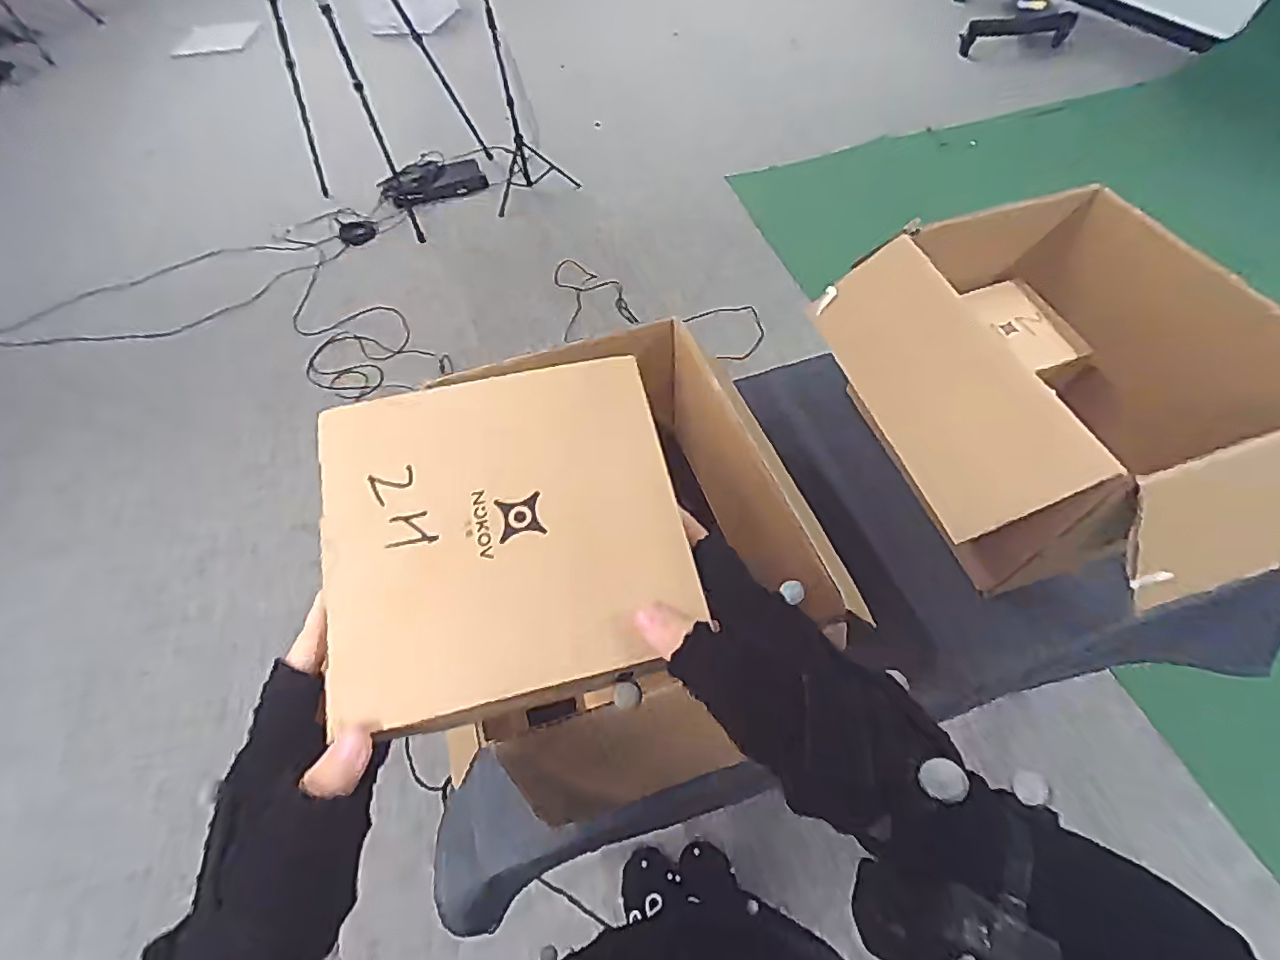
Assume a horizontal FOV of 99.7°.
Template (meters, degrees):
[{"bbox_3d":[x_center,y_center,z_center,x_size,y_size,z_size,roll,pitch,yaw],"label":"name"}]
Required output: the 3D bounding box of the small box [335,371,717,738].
[{"bbox_3d":[-0.069,0.055,0.350,0.179,0.176,0.168,-11,67,-8],"label":"small box"}]
